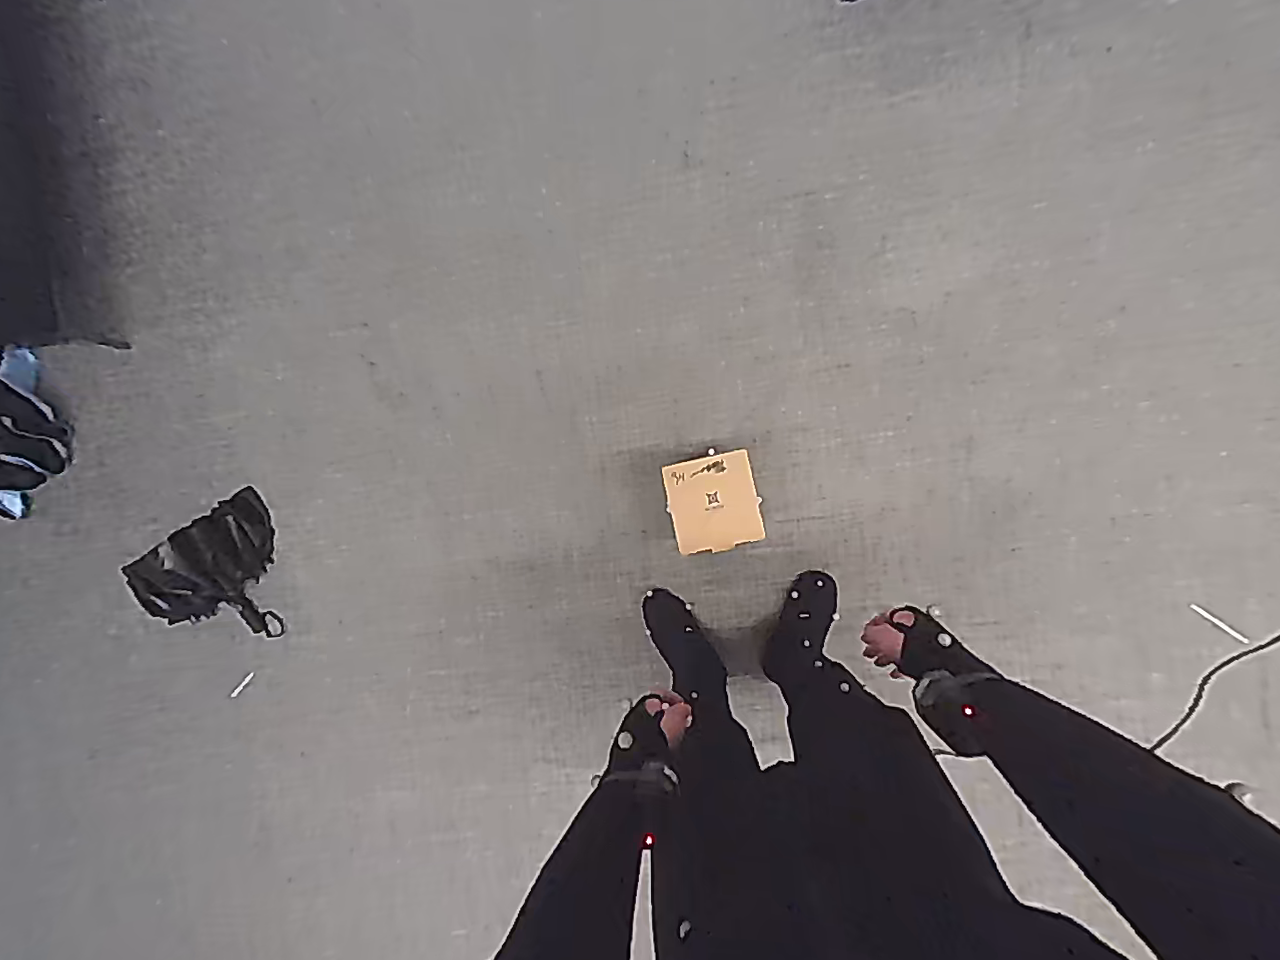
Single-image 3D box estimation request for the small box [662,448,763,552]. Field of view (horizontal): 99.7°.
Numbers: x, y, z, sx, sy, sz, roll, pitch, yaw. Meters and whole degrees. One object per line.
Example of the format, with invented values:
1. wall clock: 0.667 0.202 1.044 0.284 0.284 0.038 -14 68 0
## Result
1. small box: 0.146 0.035 1.094 0.168 0.176 0.179 -12 90 7
